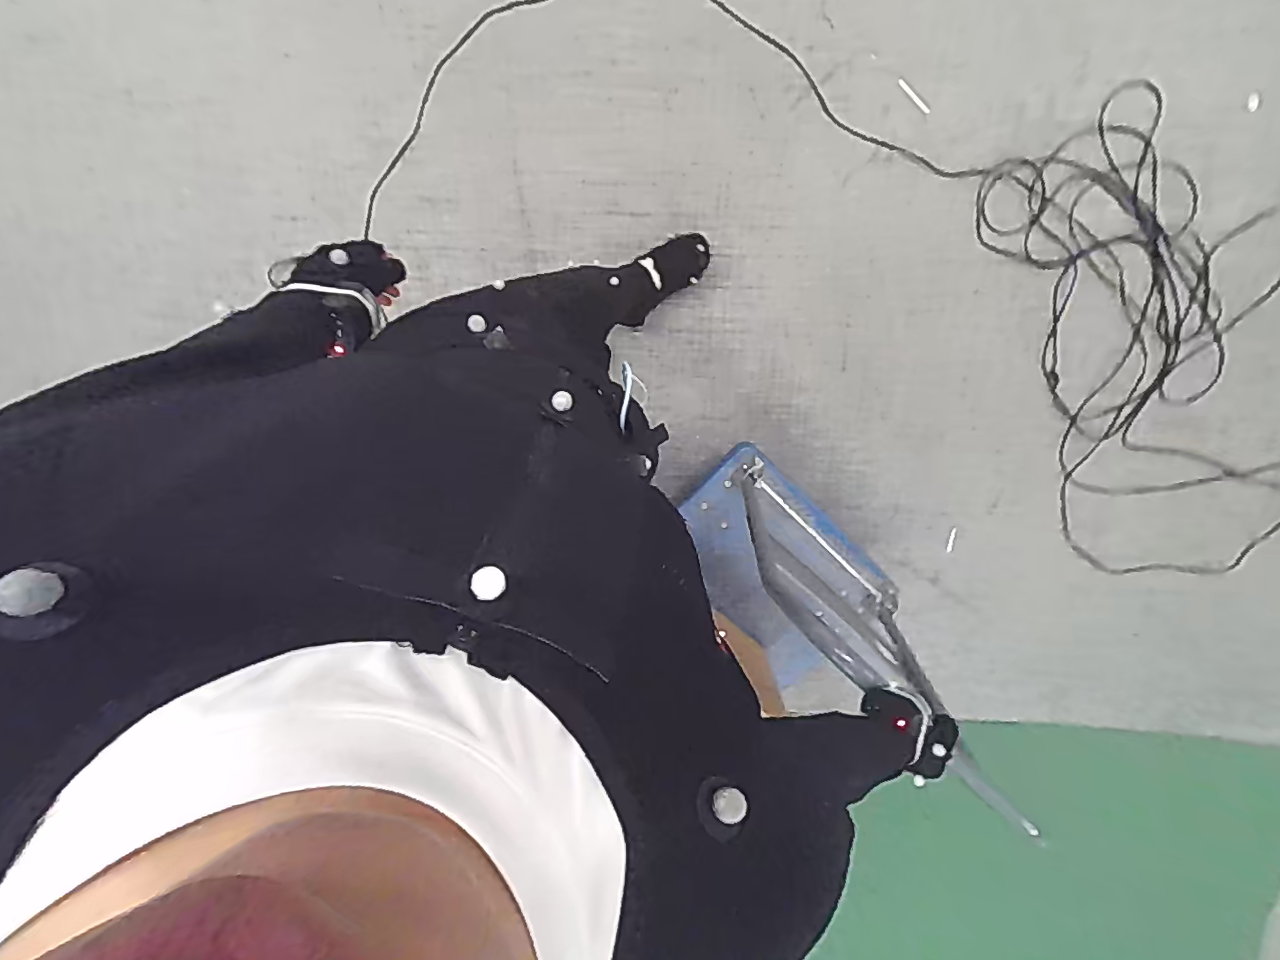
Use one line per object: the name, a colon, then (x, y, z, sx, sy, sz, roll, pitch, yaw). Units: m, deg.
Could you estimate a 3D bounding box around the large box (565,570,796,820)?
large box: (0.085, 0.492, 1.286, 0.408, 0.320, 0.320, 39, 104, -11)
